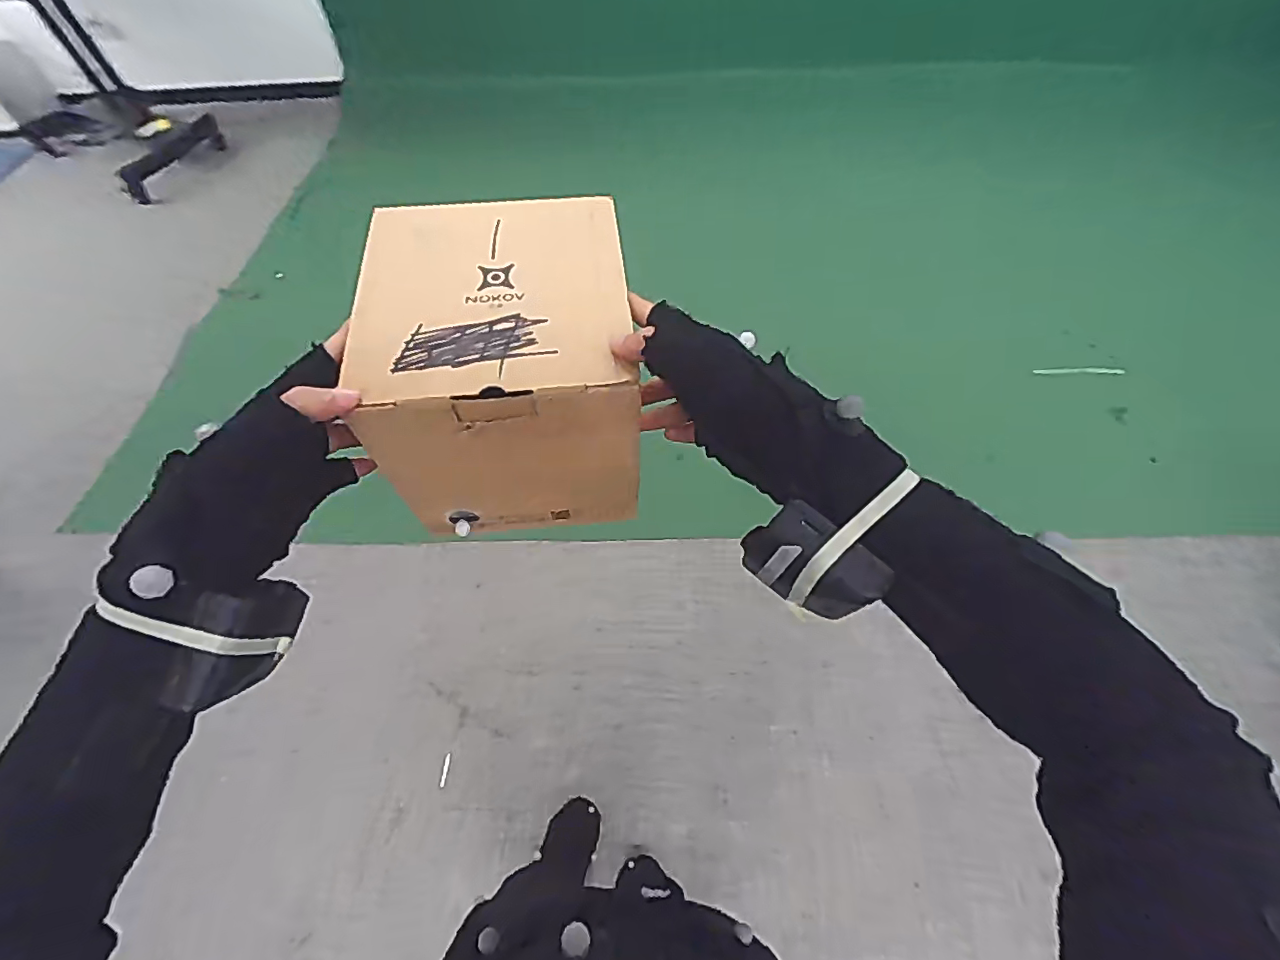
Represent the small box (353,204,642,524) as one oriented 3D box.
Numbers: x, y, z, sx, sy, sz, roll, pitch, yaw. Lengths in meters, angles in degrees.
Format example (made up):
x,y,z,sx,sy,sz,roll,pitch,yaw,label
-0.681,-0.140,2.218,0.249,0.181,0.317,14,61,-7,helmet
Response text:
x,y,z,sx,sy,sz,roll,pitch,yaw,label
-0.086,-0.076,0.410,0.168,0.176,0.179,-5,60,-4,small box
